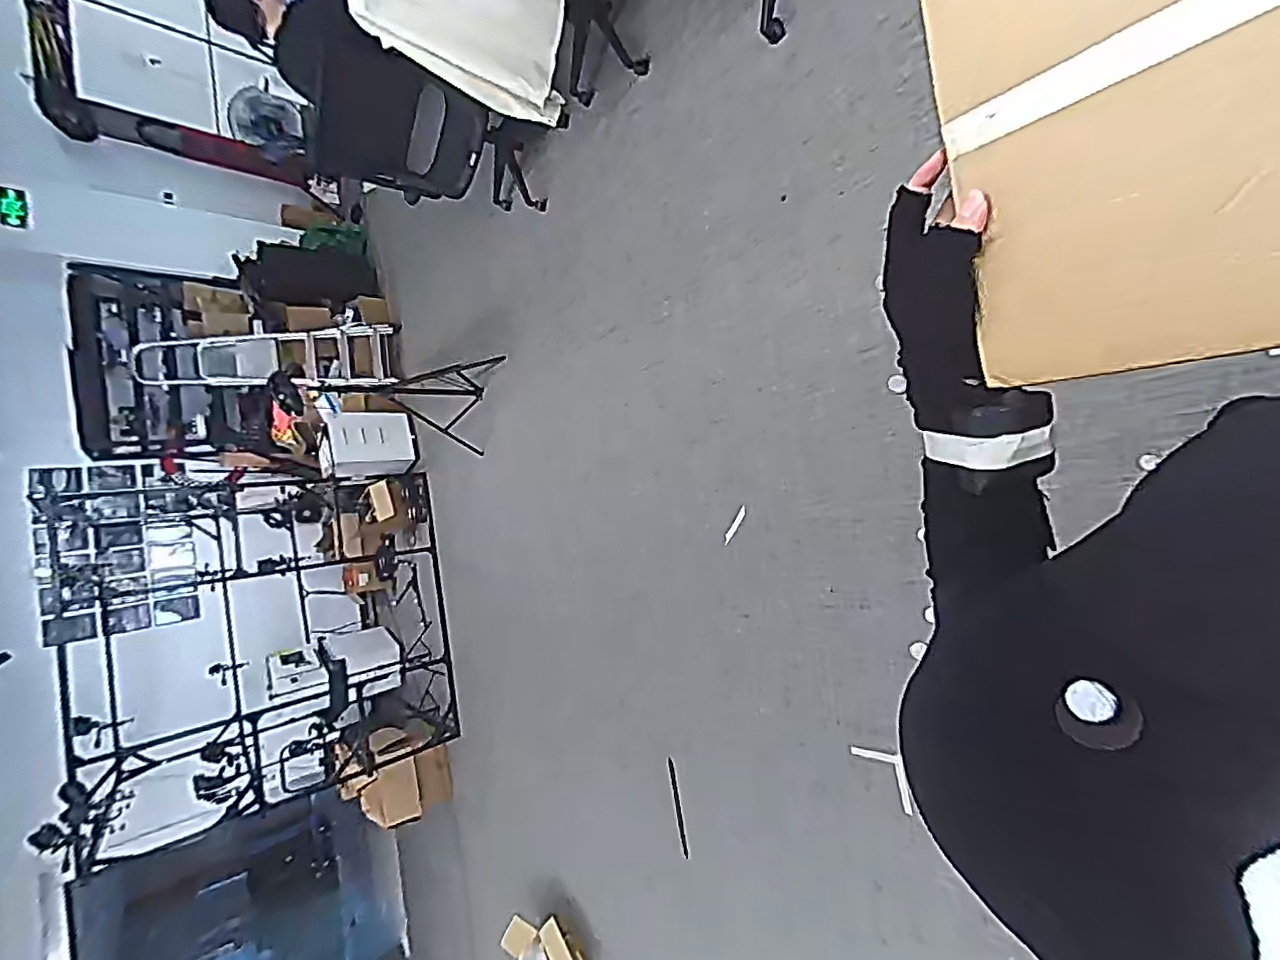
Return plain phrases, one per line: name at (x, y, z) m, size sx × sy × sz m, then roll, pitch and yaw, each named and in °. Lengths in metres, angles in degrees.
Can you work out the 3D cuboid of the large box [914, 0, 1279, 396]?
large box at (0.429, -0.257, 0.279) m, size 0.408 × 0.320 × 0.320 m, roll -4°, pitch 103°, yaw 53°
